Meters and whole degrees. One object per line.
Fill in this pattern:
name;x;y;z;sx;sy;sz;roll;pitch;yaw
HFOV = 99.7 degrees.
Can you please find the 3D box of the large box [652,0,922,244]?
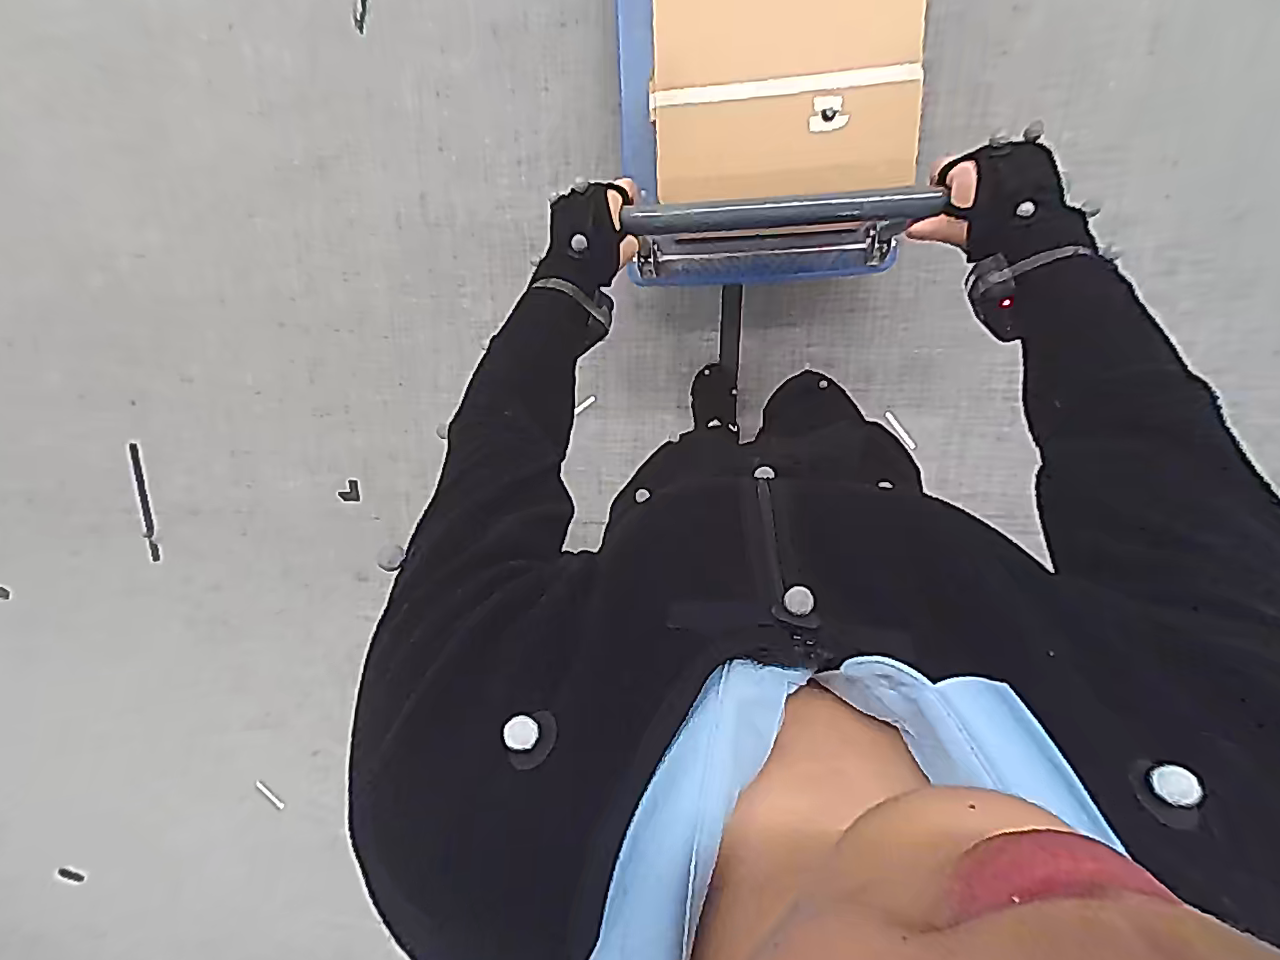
large box;0.237;-0.635;0.982;0.408;0.320;0.320;-1;104;6
